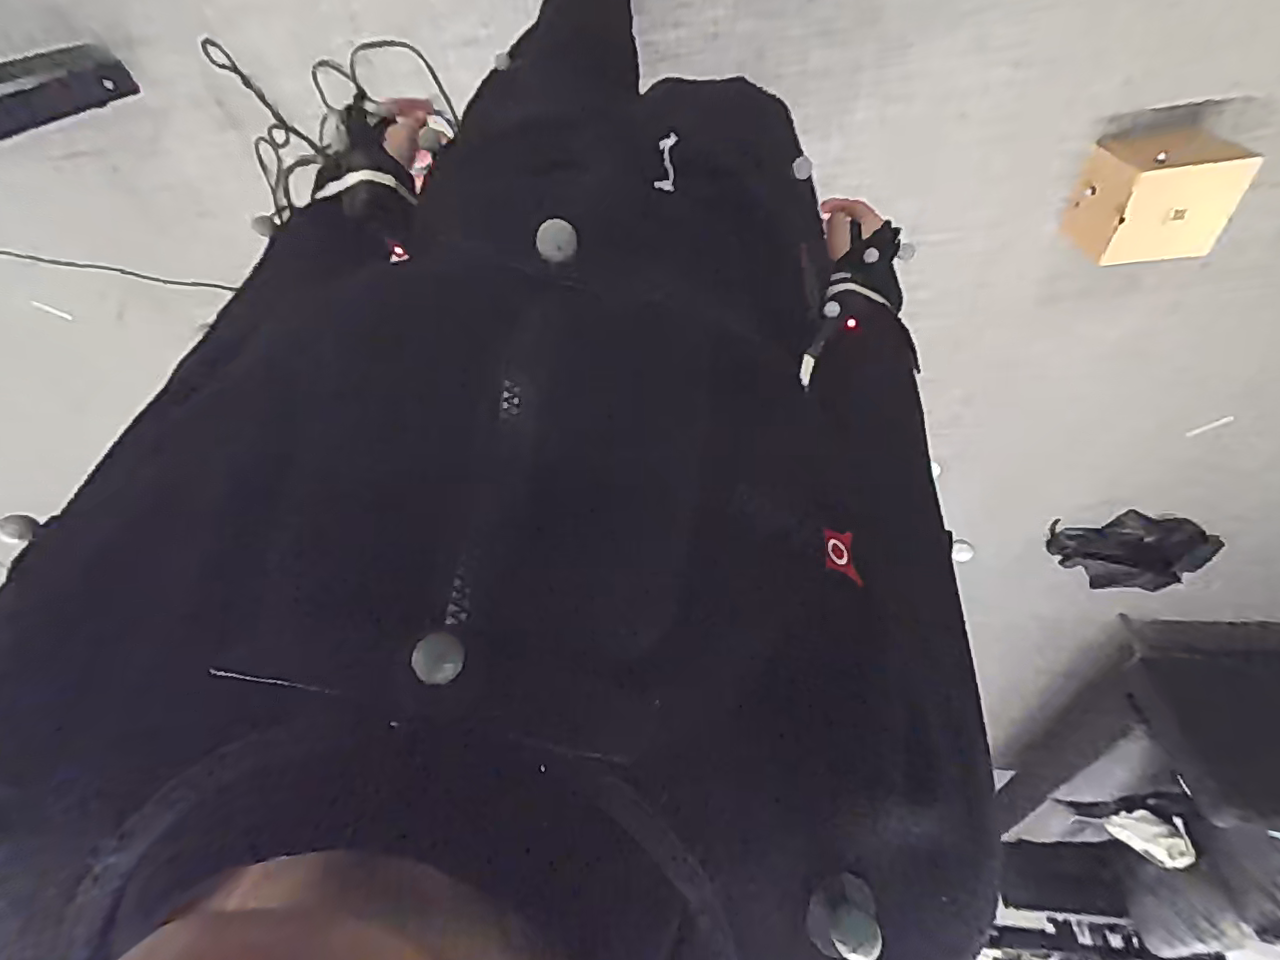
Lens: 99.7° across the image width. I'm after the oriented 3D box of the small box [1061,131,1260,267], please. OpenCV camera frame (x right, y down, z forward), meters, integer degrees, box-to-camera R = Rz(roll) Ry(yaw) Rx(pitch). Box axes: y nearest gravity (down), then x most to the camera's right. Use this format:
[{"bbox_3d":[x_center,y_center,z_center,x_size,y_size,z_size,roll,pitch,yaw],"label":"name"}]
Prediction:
[{"bbox_3d":[0.929,-0.515,0.990,0.179,0.176,0.168,-3,137,11],"label":"small box"}]
